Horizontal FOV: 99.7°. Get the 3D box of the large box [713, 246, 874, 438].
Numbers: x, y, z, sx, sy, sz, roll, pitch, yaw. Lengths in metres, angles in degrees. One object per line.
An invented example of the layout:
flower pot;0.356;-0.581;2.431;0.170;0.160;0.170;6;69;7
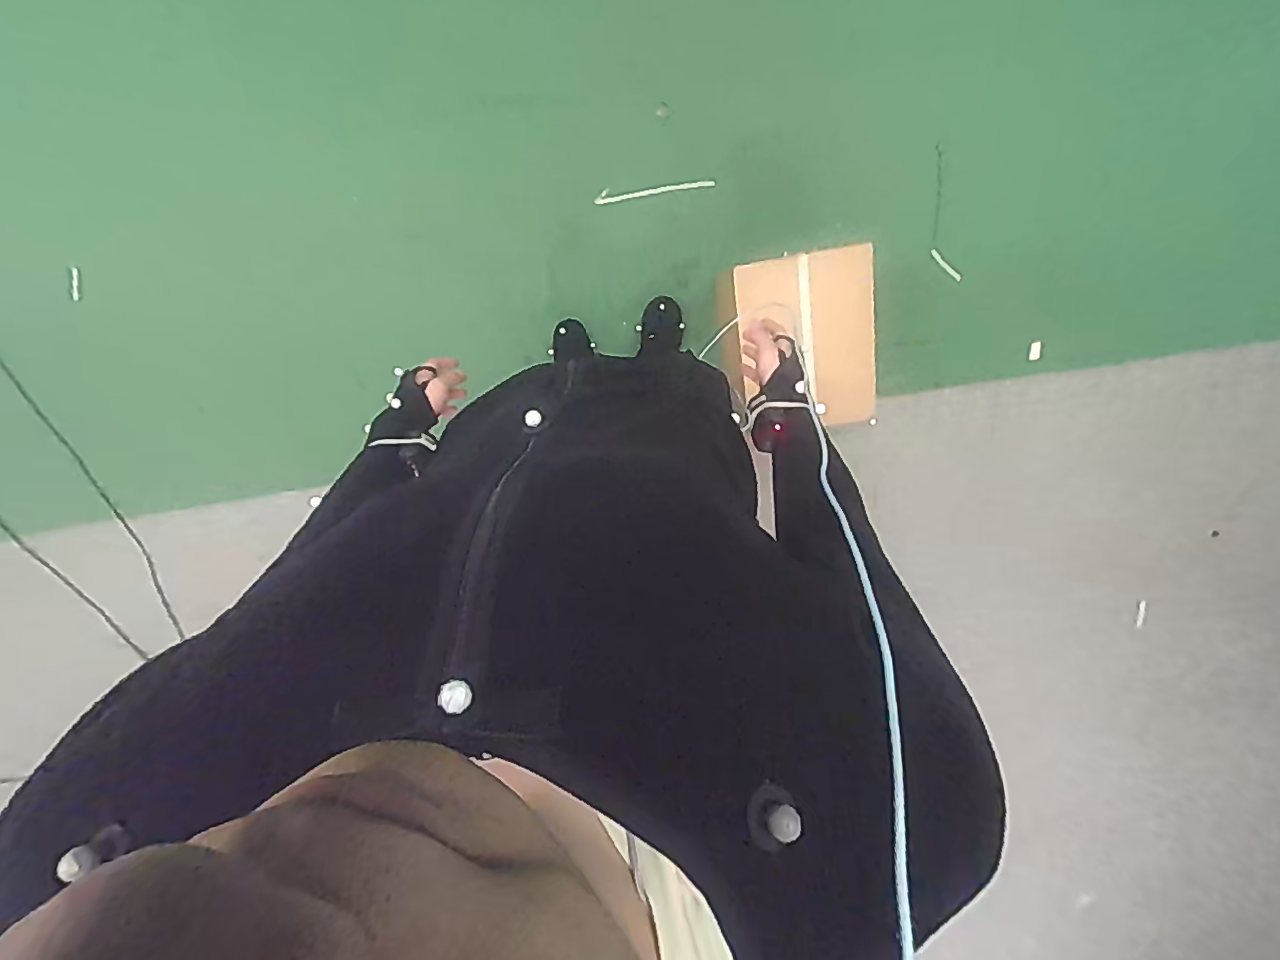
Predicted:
large box;0.387;-0.361;1.411;0.320;0.320;0.408;-9;109;3
